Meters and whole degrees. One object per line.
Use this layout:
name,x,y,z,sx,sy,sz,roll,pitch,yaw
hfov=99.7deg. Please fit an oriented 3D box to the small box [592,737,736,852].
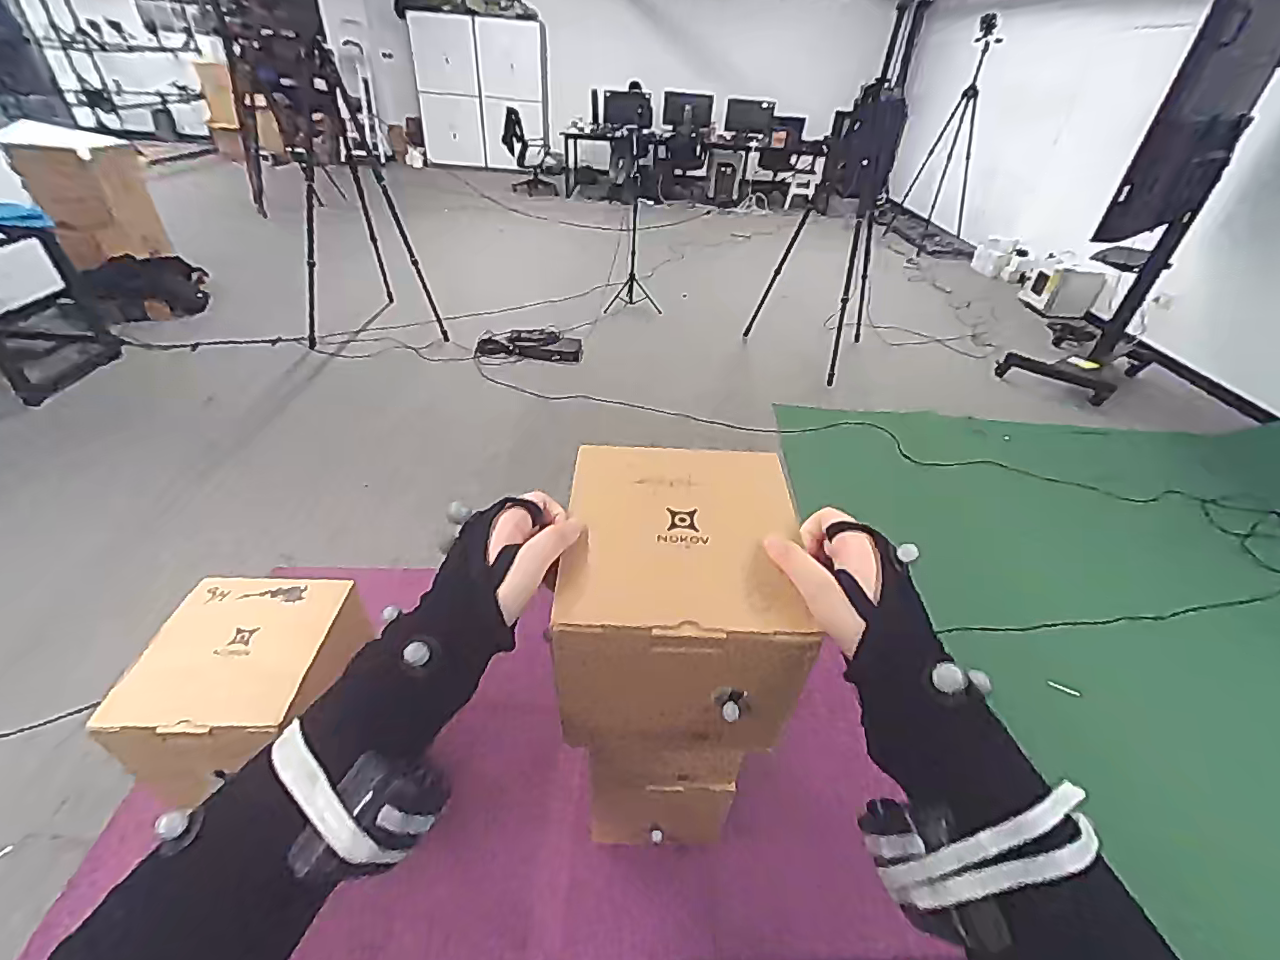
small box,0.024,0.364,0.723,0.168,0.176,0.179,2,38,-2

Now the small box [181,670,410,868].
small box,-0.408,0.366,0.684,0.168,0.176,0.179,1,37,-5

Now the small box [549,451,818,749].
small box,0.027,0.097,0.437,0.168,0.176,0.179,2,41,-1

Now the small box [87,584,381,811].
small box,-0.404,0.235,0.585,0.168,0.176,0.179,3,38,-3
